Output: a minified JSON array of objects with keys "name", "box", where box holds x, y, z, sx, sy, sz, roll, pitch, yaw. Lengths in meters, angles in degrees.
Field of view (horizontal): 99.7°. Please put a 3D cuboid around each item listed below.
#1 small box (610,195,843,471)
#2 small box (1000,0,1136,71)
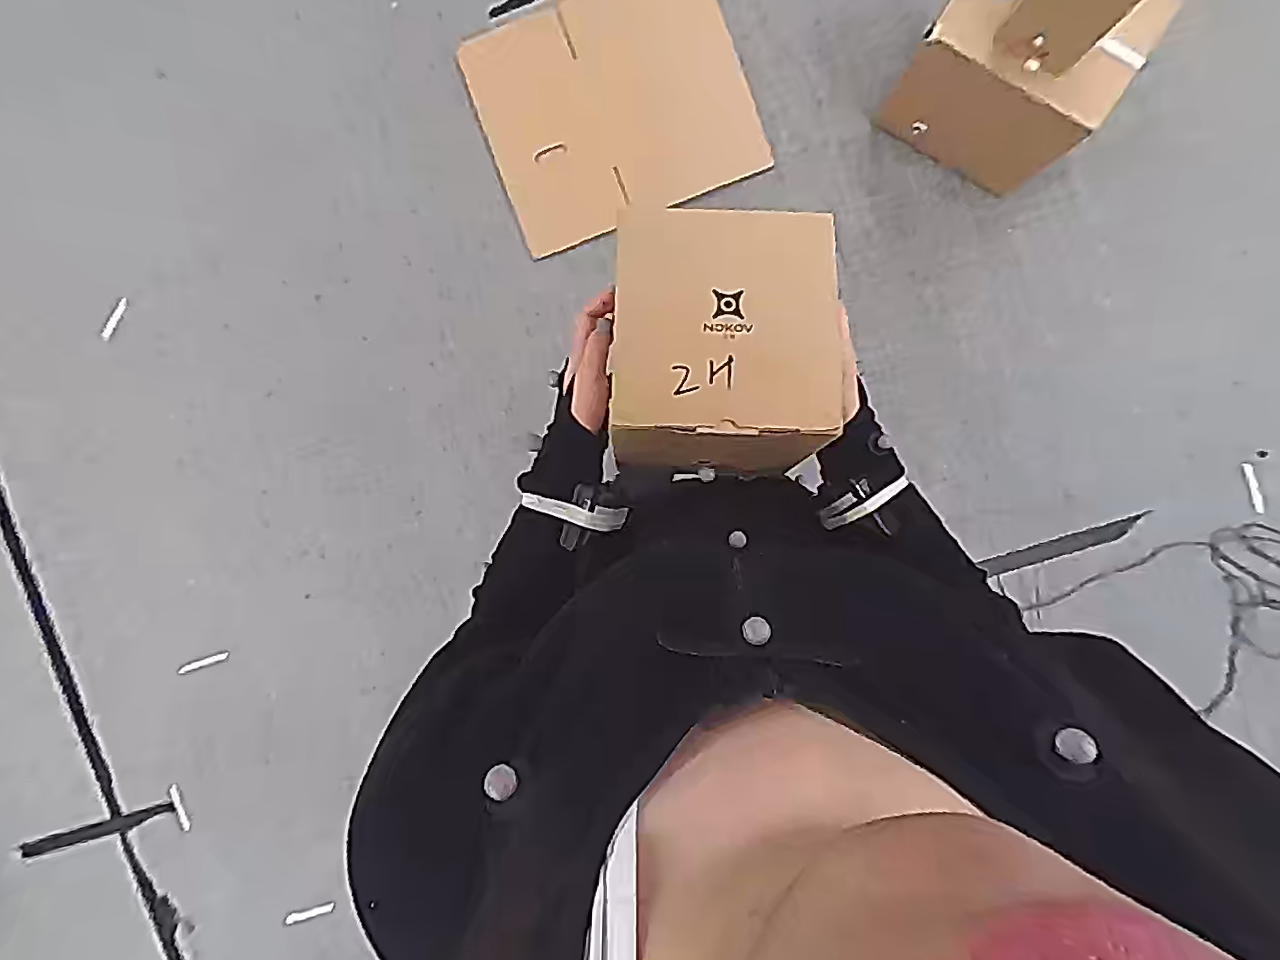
[{"name":"small box","box":[0.062,-0.112,0.468,0.168,0.176,0.179,1,80,0]},{"name":"small box","box":[0.833,-0.941,1.019,0.168,0.176,0.179,30,94,1]}]
